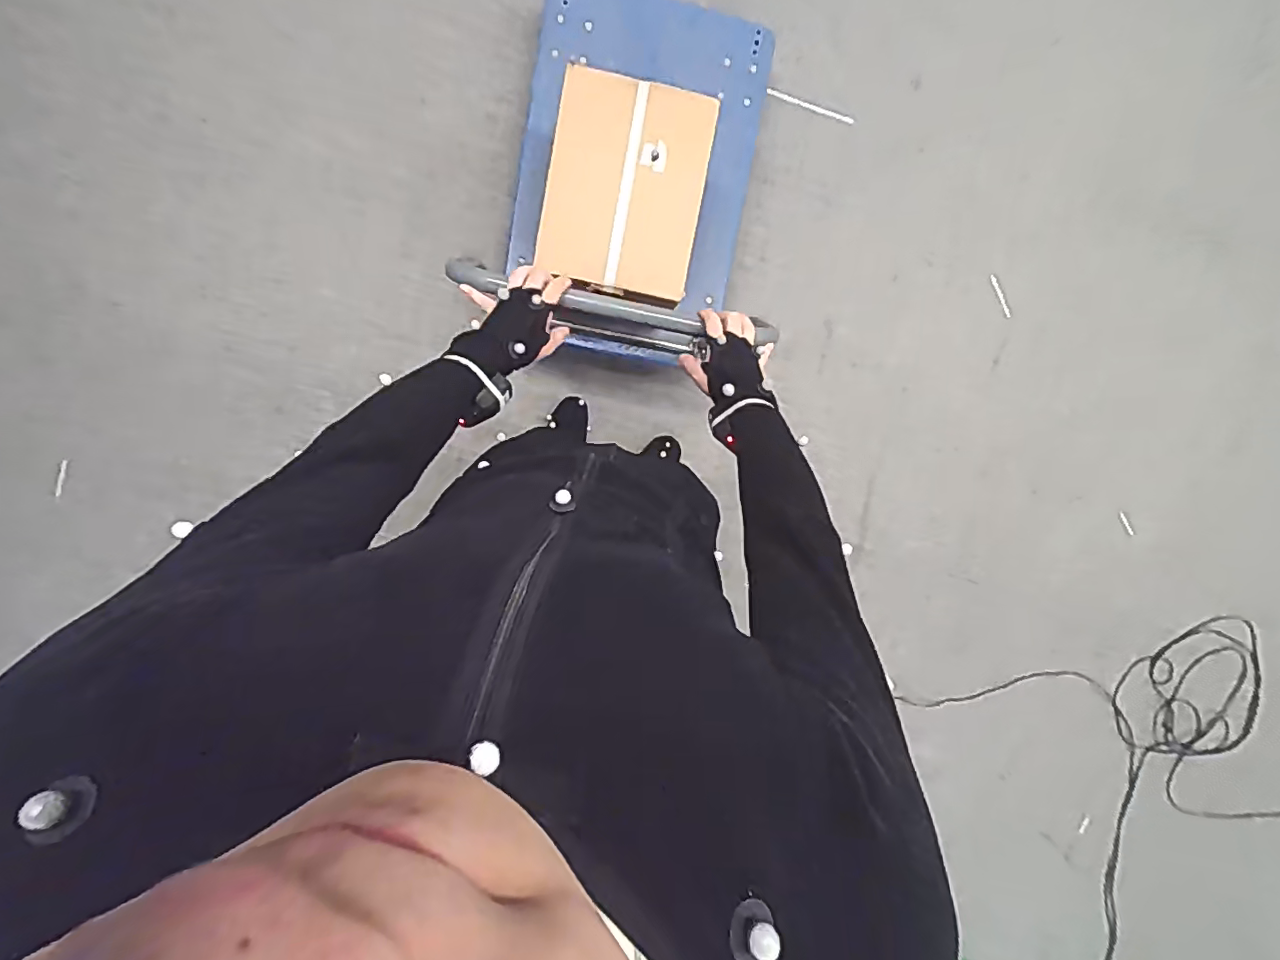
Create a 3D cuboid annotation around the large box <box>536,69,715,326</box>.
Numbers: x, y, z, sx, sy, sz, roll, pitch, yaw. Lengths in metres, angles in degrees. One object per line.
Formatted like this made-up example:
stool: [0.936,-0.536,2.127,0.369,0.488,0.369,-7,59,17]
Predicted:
large box: [-0.041,-0.604,1.241,0.320,0.320,0.408,10,94,-6]
